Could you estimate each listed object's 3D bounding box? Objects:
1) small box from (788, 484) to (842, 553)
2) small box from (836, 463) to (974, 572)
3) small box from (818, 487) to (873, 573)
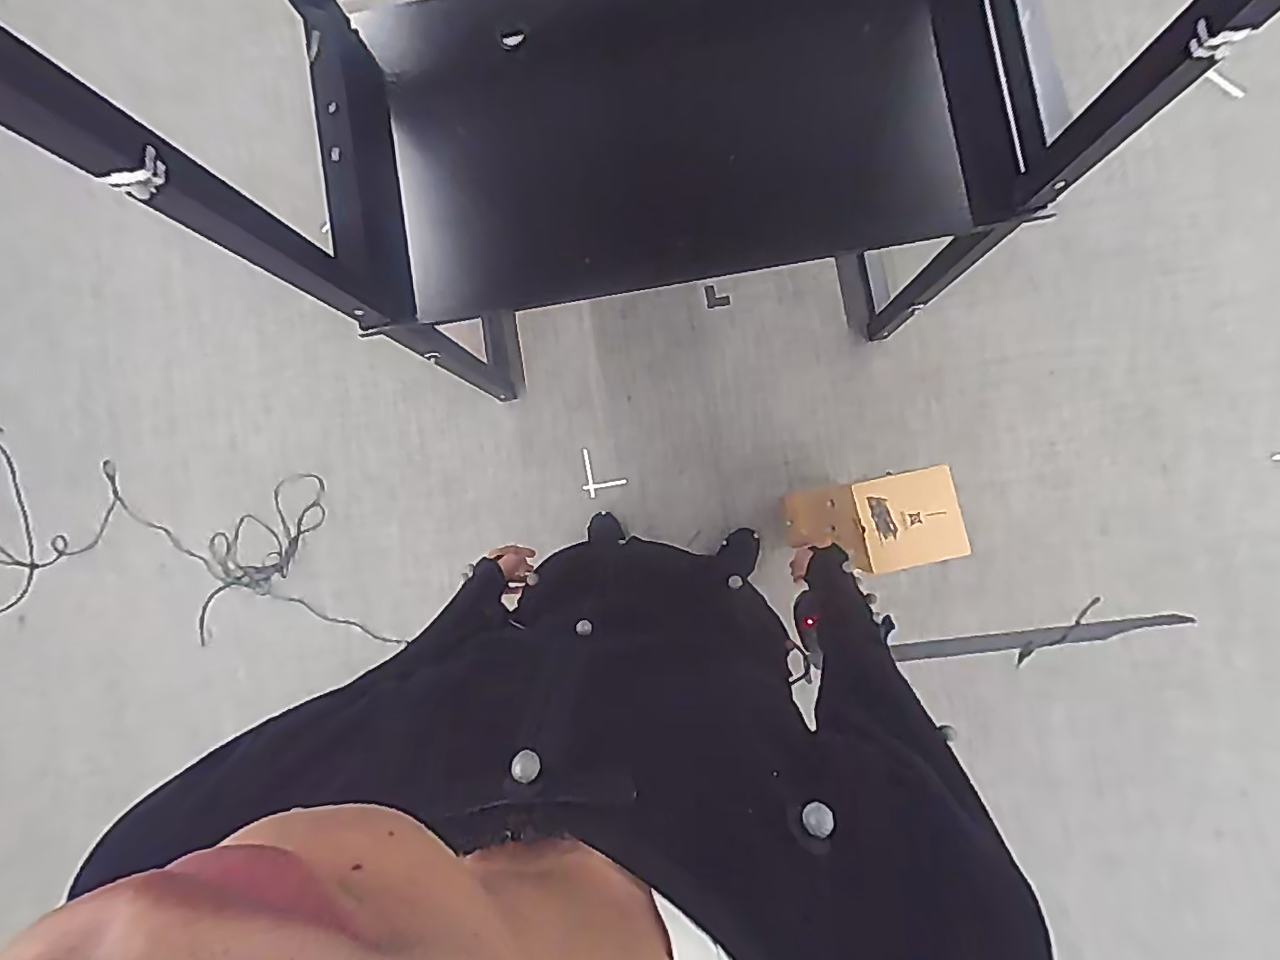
[{"bbox_3d":[0.530,0.102,1.513,0.179,0.176,0.168,-11,86,5],"label":"small box"},{"bbox_3d":[0.486,0.071,1.024,0.179,0.176,0.168,-13,87,4],"label":"small box"},{"bbox_3d":[0.506,0.094,1.187,0.168,0.176,0.179,-12,87,5],"label":"small box"}]
